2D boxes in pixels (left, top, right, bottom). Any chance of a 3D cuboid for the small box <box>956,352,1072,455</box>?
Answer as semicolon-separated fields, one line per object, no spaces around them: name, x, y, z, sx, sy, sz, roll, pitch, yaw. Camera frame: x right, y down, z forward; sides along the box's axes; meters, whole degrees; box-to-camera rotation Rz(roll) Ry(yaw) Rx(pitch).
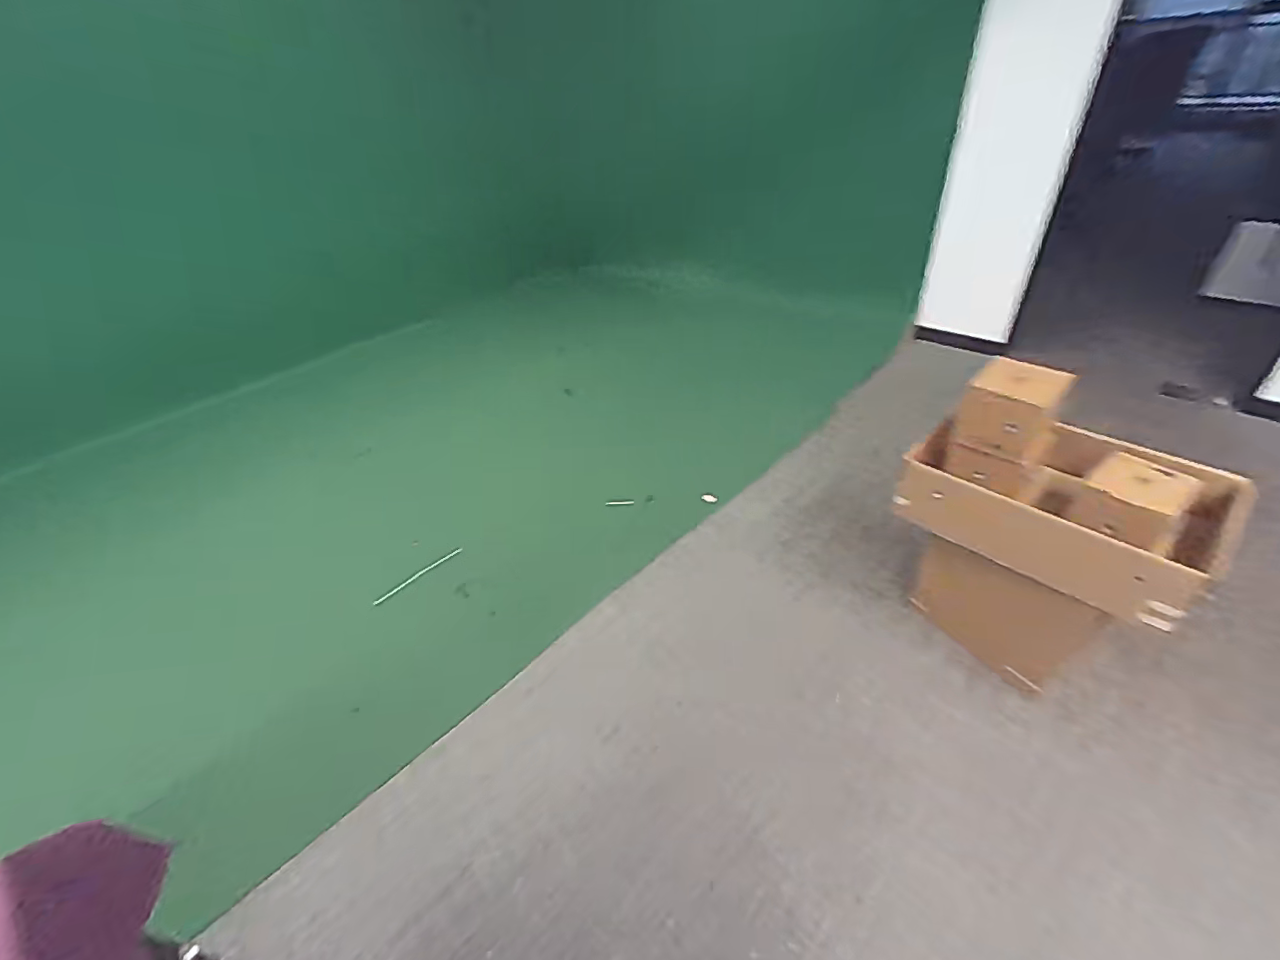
small box;0.899;-0.186;1.315;0.179;0.176;0.168;-34;45;-28
